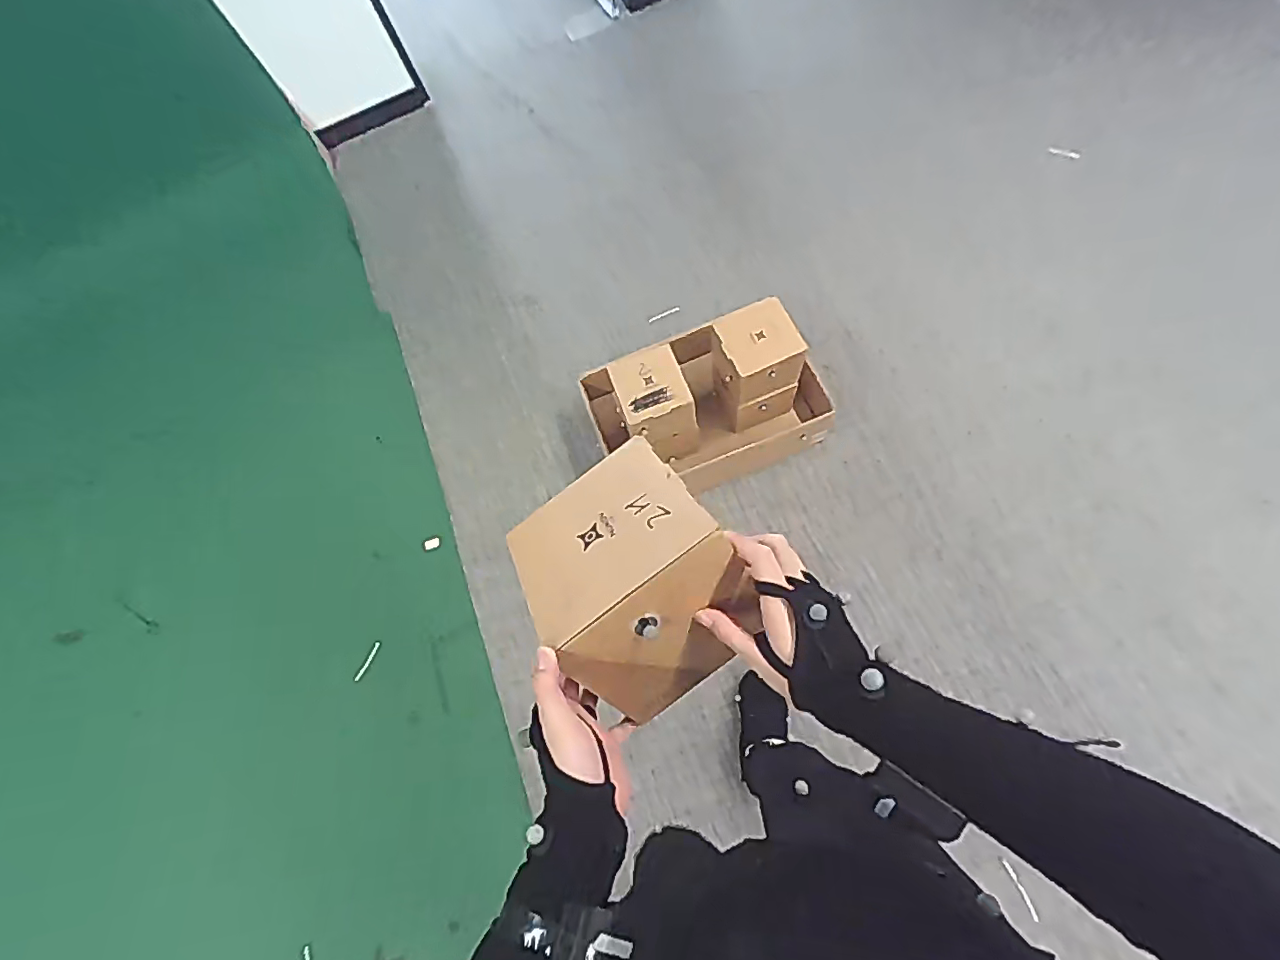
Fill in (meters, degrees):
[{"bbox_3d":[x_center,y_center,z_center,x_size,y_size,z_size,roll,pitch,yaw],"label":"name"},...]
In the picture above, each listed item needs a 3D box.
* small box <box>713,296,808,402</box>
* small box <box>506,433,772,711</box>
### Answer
[{"bbox_3d":[0.298,-0.322,1.365,0.179,0.176,0.168,-23,72,0],"label":"small box"},{"bbox_3d":[0.000,0.093,0.535,0.179,0.176,0.168,-37,40,0],"label":"small box"}]
